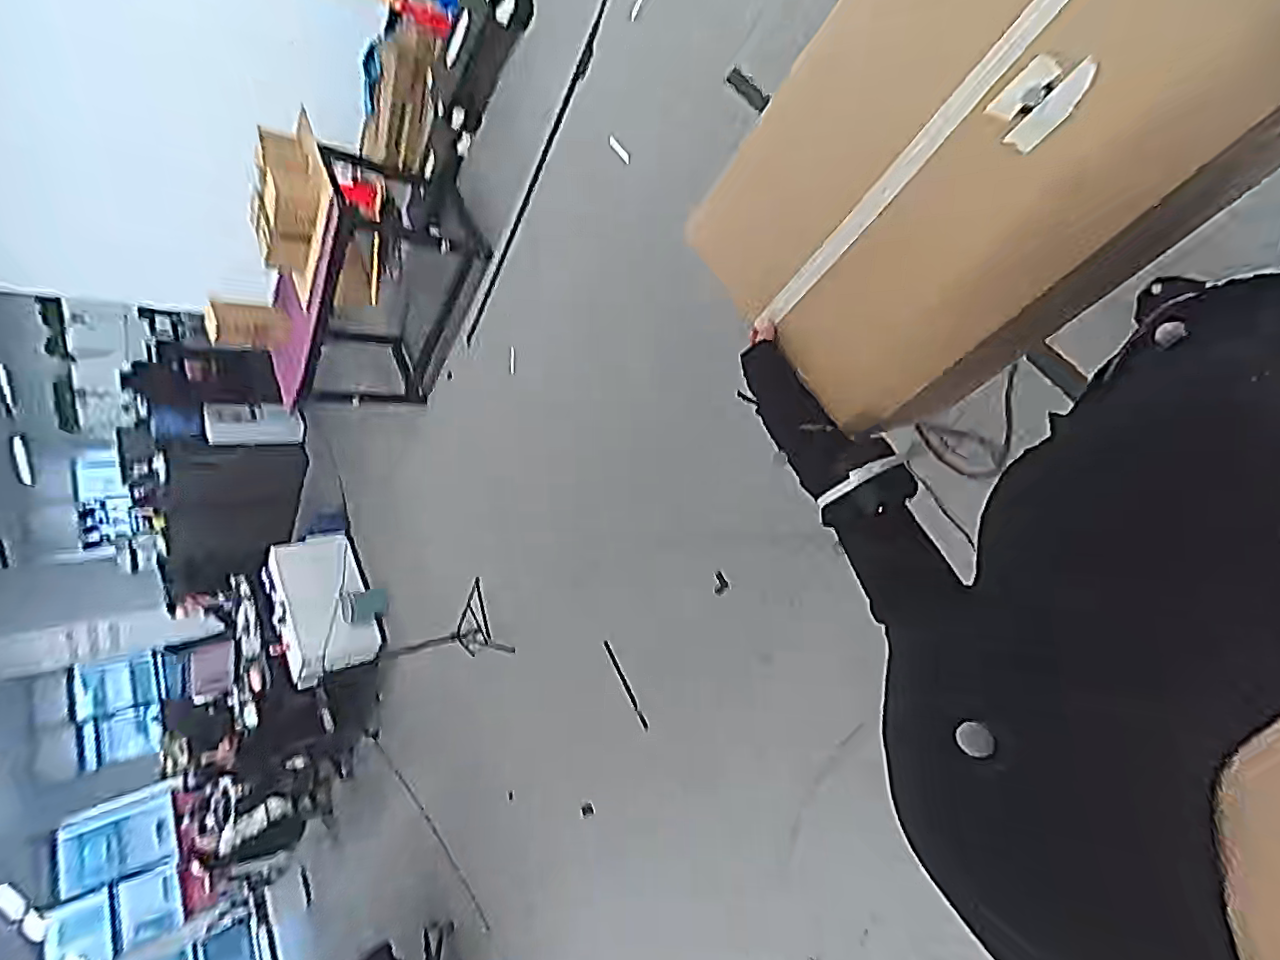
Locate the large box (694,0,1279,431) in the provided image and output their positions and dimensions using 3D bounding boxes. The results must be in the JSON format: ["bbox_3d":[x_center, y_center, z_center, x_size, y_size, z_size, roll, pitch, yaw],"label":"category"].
[{"bbox_3d":[0.341,-0.303,0.571,0.408,0.320,0.320,-47,68,37],"label":"large box"}]
